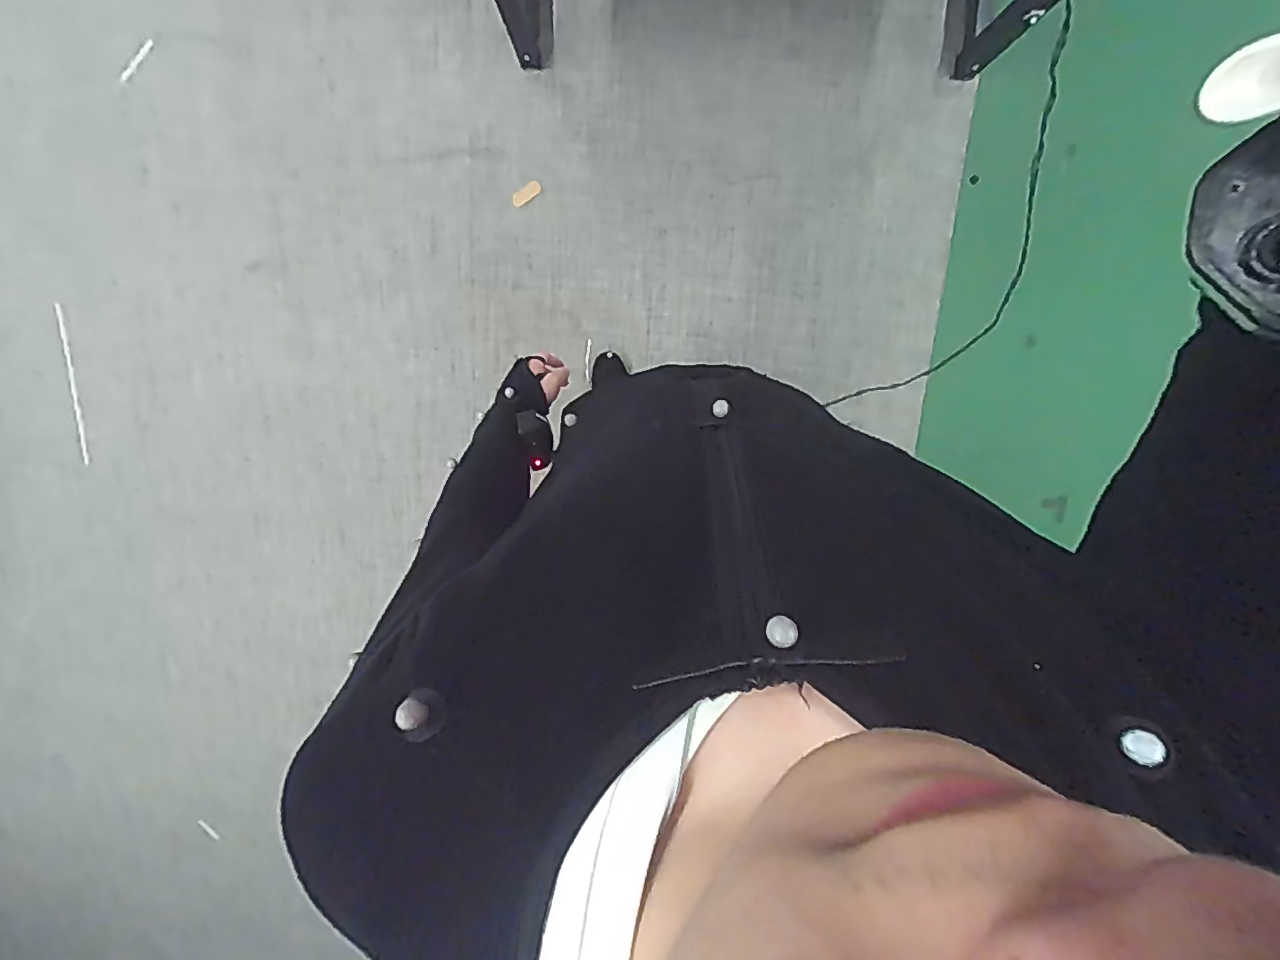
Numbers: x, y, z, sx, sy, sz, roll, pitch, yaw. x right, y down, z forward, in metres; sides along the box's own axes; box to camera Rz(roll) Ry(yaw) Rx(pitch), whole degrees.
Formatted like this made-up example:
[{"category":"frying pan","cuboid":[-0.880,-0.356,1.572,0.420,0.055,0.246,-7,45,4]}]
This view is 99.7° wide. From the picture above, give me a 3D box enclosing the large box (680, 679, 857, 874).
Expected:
[{"category":"large box","cuboid":[0.379,0.905,1.688,0.408,0.320,0.320,-29,101,5]}]
